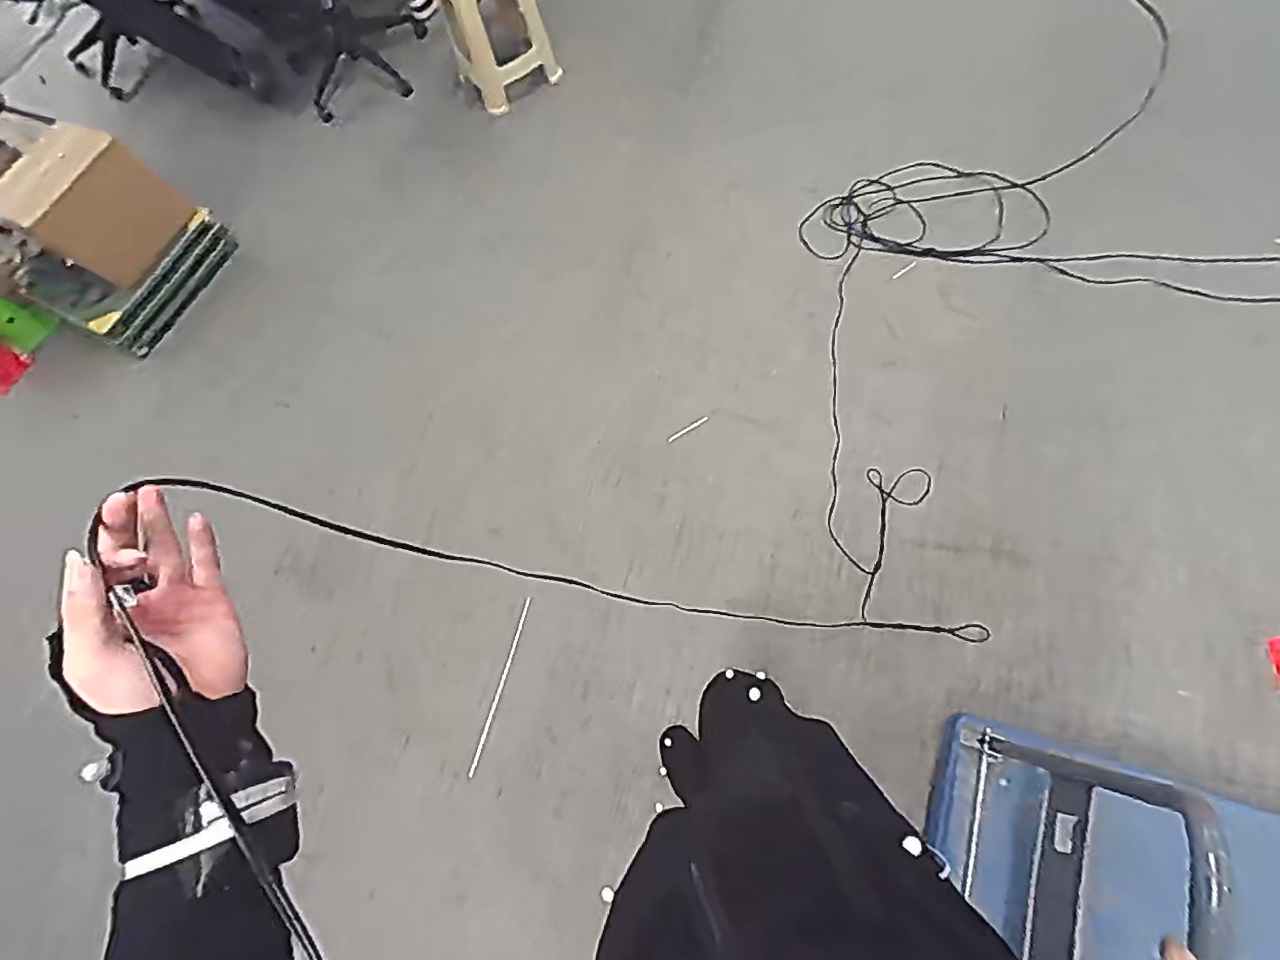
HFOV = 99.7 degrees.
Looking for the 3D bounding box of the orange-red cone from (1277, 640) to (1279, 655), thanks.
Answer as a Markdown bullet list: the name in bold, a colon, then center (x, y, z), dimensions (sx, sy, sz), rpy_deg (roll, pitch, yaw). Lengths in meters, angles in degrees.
- **orange-red cone**: center (1.573, 0.399, 1.077), dimensions (0.198, 0.360, 0.199), rpy_deg (-1, 69, 7)
